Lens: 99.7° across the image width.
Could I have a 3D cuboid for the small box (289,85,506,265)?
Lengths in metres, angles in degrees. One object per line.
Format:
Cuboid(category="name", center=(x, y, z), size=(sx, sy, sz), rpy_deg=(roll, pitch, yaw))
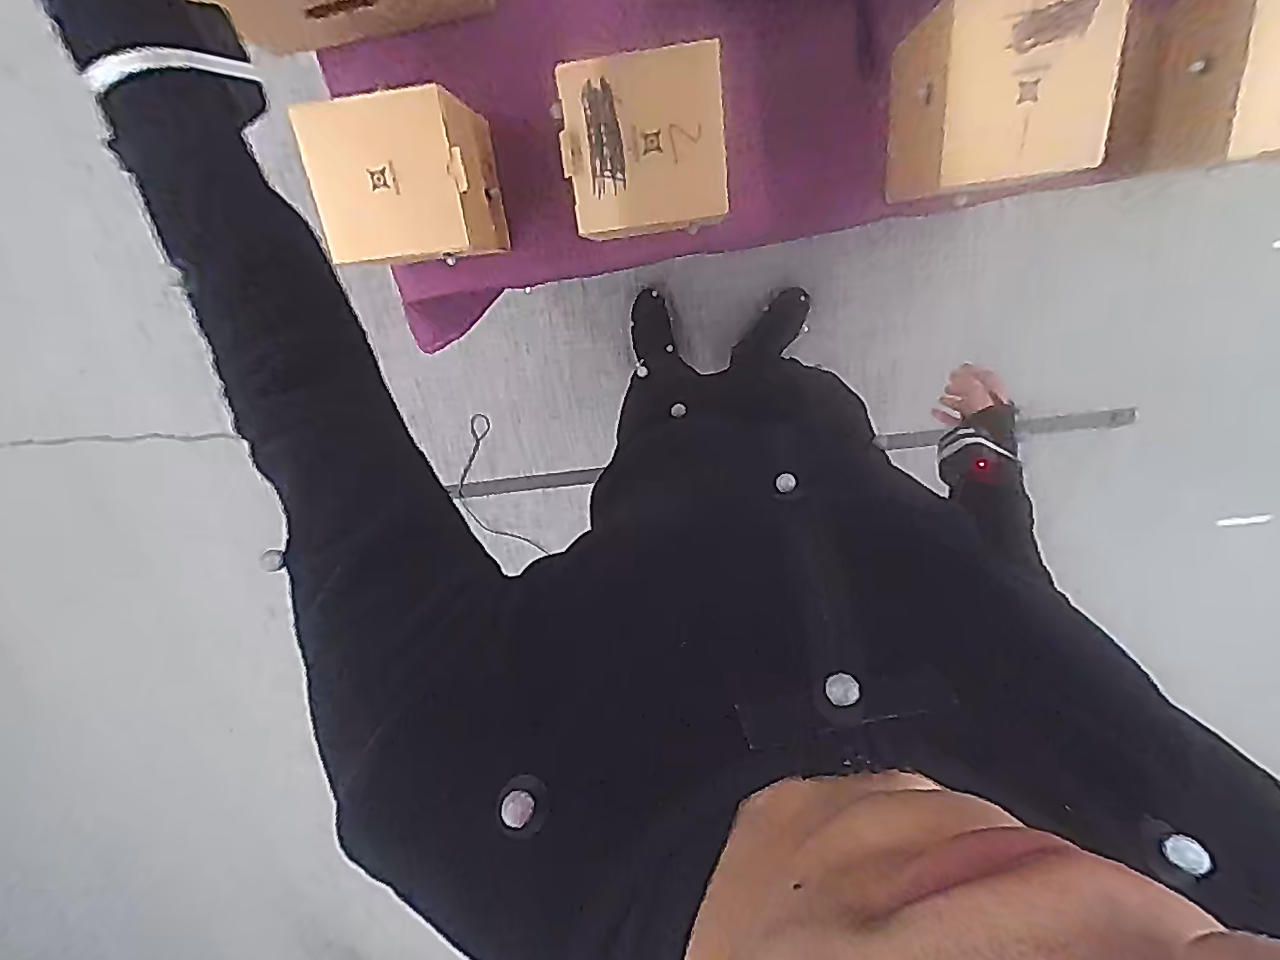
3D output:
Cuboid(category="small box", center=(-0.291, -0.372, 0.692), size=(0.179, 0.176, 0.168), rpy_deg=(-6, 112, 5))
